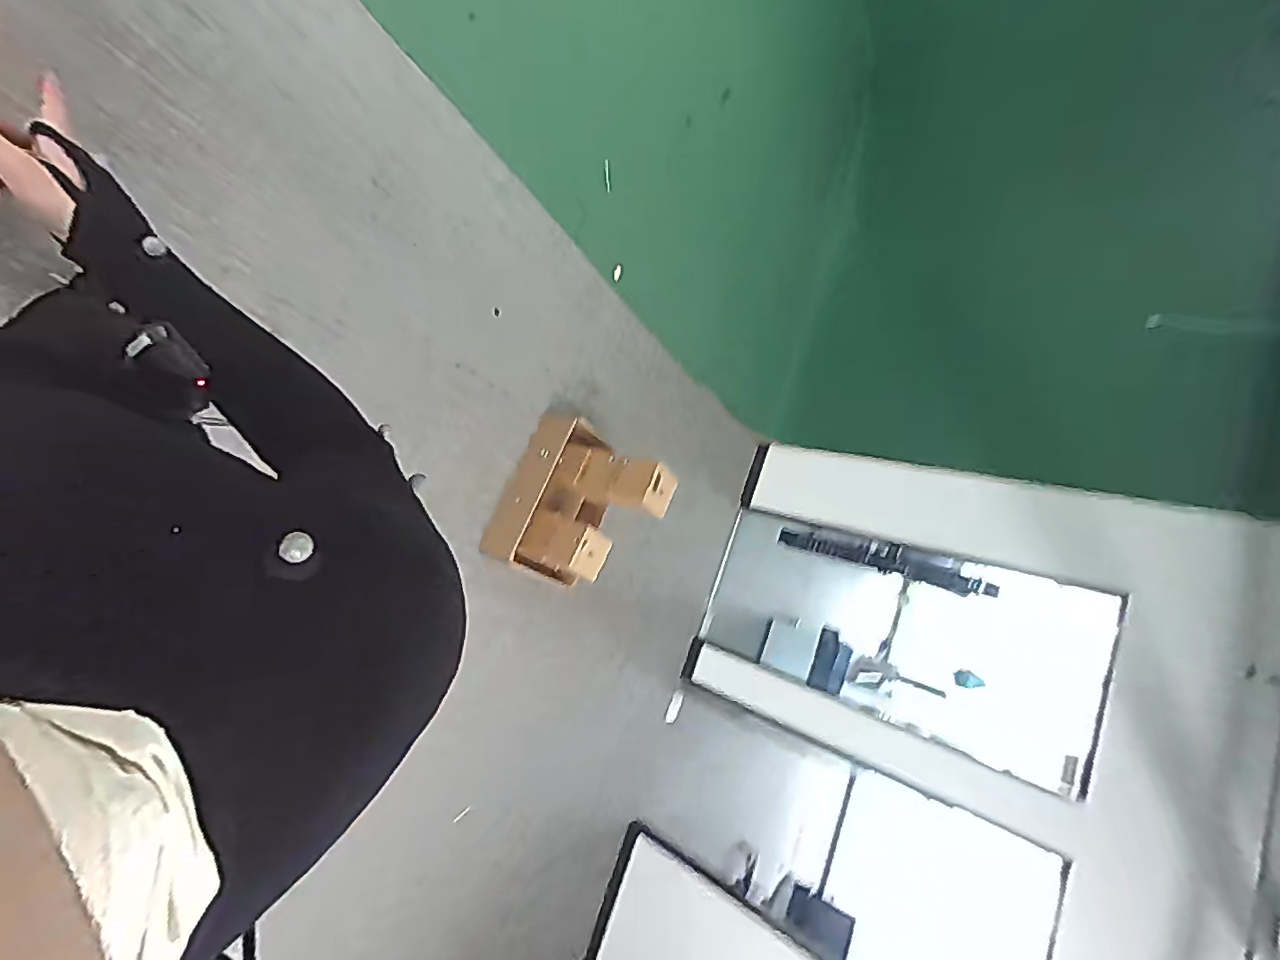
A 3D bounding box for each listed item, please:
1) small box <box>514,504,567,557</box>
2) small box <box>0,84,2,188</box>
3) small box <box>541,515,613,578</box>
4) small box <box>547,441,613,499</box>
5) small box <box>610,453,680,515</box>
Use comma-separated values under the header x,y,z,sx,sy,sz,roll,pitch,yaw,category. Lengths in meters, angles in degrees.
x,y,z,sx,sy,sz,roll,pitch,yaw,category
-0.363,0.211,2.142,0.179,0.176,0.168,41,68,-50,small box
-0.583,-0.326,0.378,0.168,0.176,0.179,-3,105,-46,small box
-0.239,0.248,2.041,0.179,0.176,0.168,44,66,-50,small box
-0.246,-0.045,2.213,0.179,0.176,0.168,41,68,-52,small box
0.016,0.012,2.024,0.179,0.176,0.168,41,69,-52,small box
